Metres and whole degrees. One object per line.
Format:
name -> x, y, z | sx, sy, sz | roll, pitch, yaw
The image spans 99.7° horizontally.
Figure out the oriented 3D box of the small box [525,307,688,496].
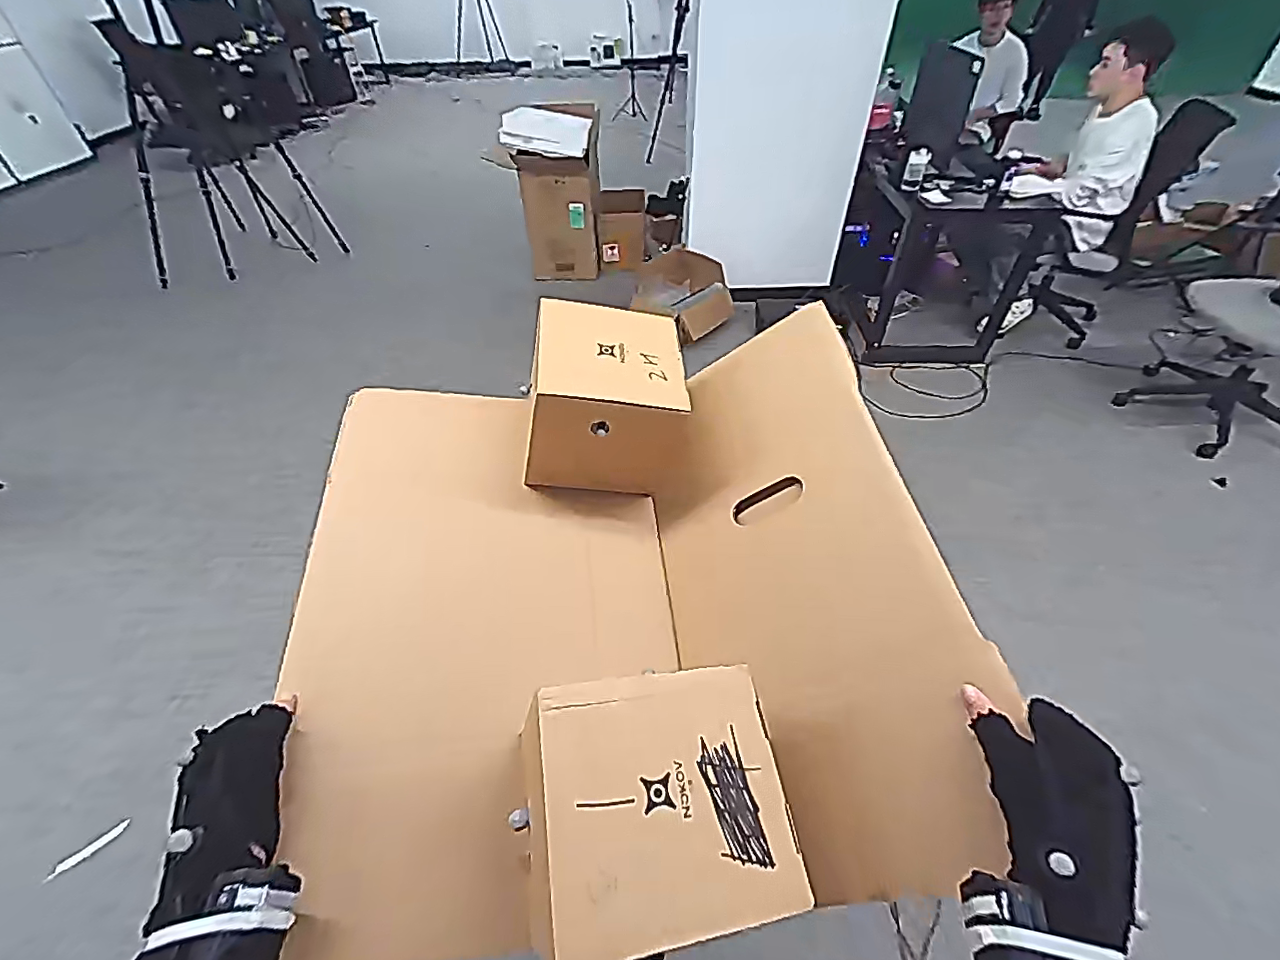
small box -> -0.052, -0.093, 0.699 | 0.179, 0.176, 0.168 | 6, 53, -14
